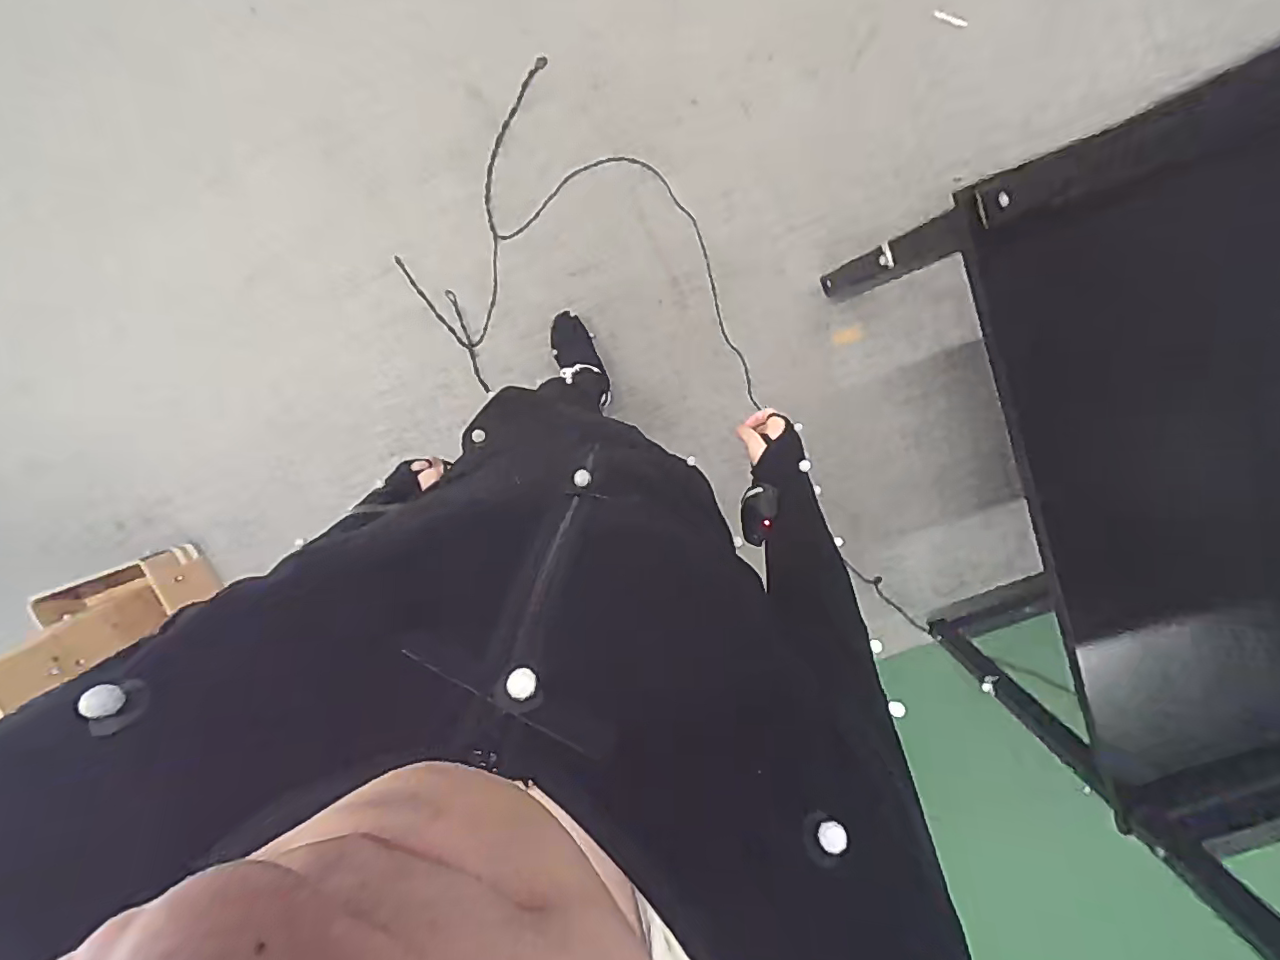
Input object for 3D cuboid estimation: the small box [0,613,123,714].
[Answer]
[{"bbox_3d":[-1.556,0.480,1.434,0.179,0.176,0.168,-19,103,4],"label":"small box"}]
